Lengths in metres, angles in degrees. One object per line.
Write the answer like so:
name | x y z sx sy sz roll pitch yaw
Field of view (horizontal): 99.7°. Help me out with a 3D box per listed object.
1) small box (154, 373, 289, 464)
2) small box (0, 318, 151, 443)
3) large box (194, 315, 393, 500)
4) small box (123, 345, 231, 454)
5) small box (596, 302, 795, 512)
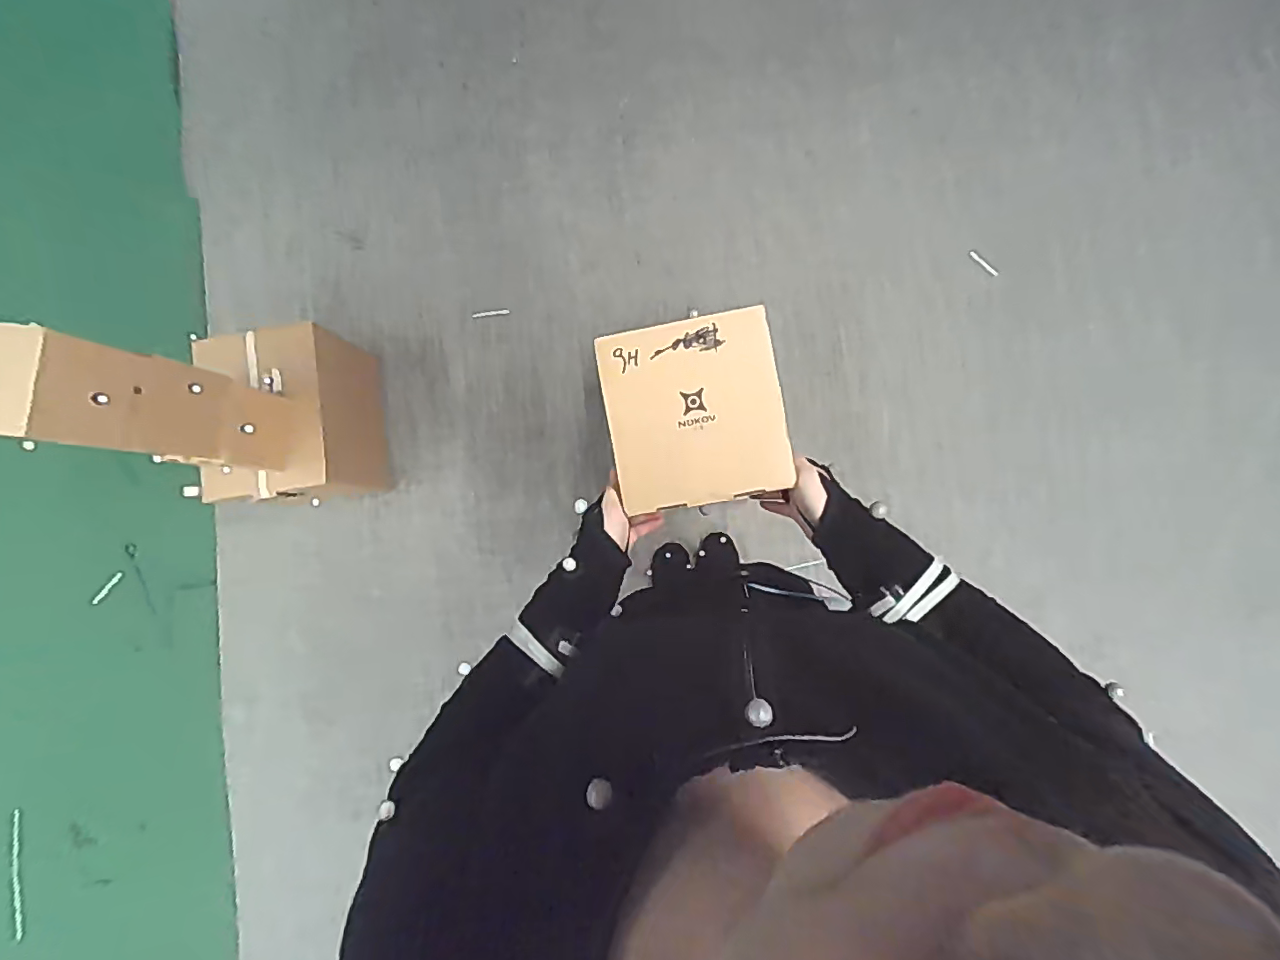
small box | -0.914 -0.133 1.196 0.168 0.176 0.179 3 87 4
small box | -0.952 -0.156 0.872 0.179 0.176 0.168 7 87 5
large box | -0.899 -0.170 1.441 0.320 0.320 0.408 -8 85 3
small box | -0.931 -0.151 1.035 0.168 0.176 0.179 6 88 5
small box | 0.058 -0.070 0.588 0.168 0.176 0.179 -10 91 4
